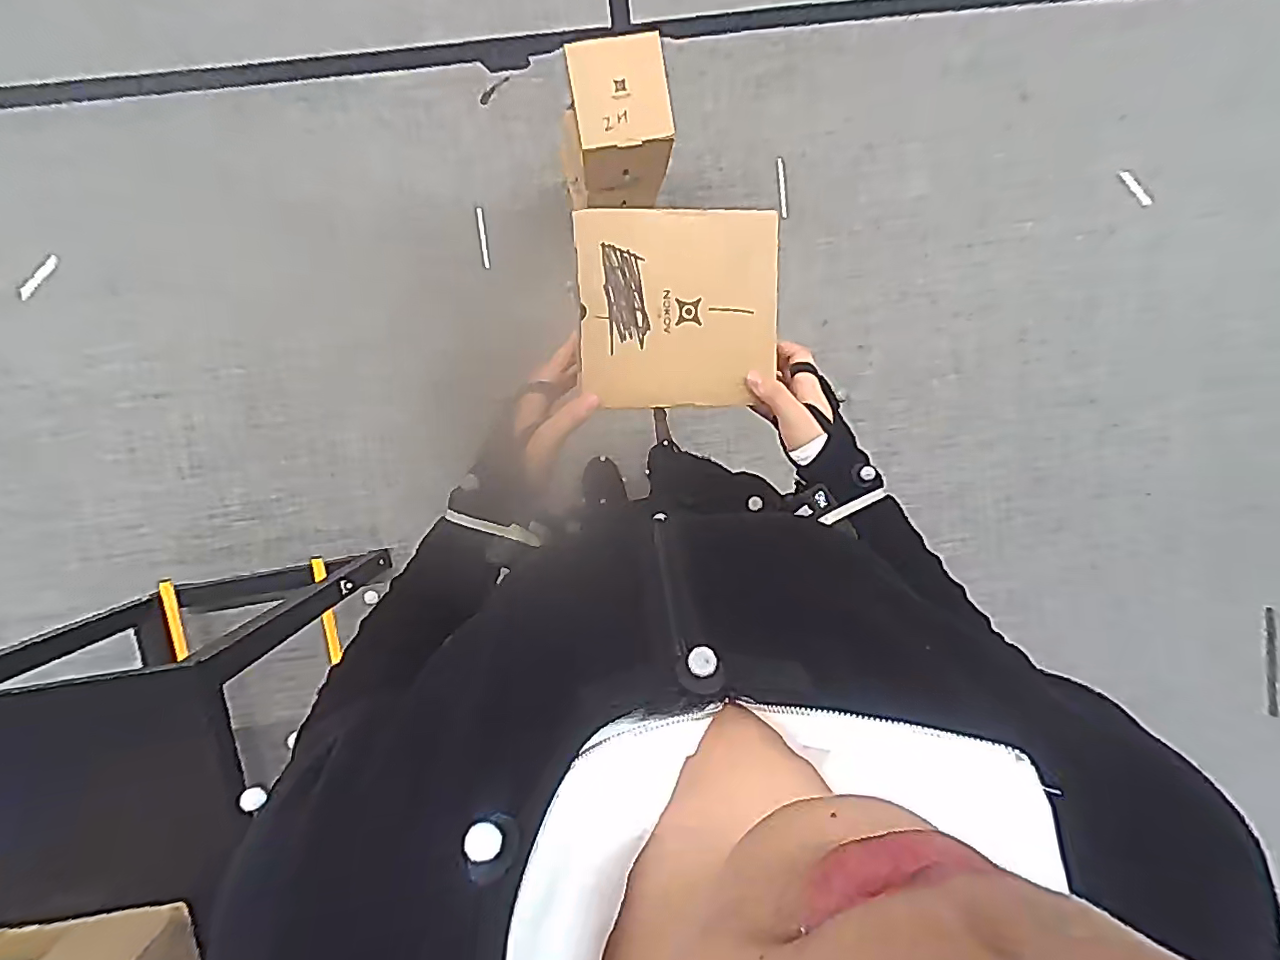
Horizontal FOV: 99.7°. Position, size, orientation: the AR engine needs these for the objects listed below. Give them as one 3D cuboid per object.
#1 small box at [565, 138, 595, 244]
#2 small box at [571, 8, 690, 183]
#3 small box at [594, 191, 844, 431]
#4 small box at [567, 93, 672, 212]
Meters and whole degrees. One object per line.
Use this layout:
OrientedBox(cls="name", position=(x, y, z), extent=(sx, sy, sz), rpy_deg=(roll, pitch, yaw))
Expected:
OrientedBox(cls="small box", position=(-0.072, -0.673, 1.249), extent=(0.168, 0.176, 0.179), rpy_deg=(-15, 99, -2))
OrientedBox(cls="small box", position=(-0.021, -0.643, 0.924), extent=(0.168, 0.176, 0.179), rpy_deg=(-11, 97, -2))
OrientedBox(cls="small box", position=(0.051, -0.127, 0.460), extent=(0.179, 0.176, 0.168), rpy_deg=(-3, 99, -6))
OrientedBox(cls="small box", position=(-0.041, -0.656, 1.088), extent=(0.168, 0.176, 0.179), rpy_deg=(-15, 98, -2))
